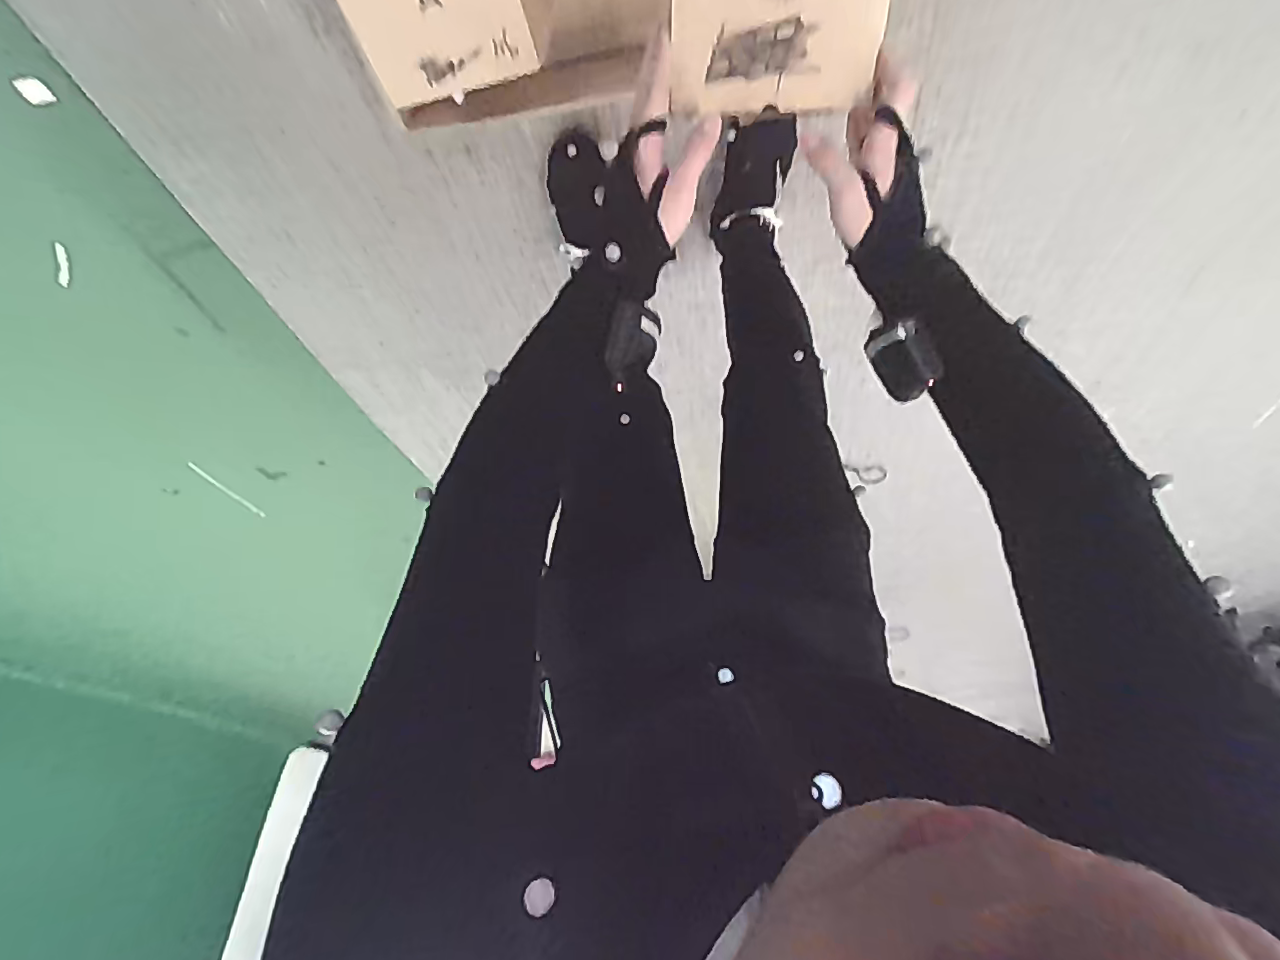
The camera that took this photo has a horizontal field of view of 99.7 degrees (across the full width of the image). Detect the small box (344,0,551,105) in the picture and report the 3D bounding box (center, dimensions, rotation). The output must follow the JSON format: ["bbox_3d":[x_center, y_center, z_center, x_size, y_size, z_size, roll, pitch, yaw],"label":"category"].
[{"bbox_3d":[-0.194,-0.515,0.532,0.168,0.176,0.179,-8,143,8],"label":"small box"}]

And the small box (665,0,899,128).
[{"bbox_3d":[0.108,-0.406,0.451,0.168,0.176,0.179,-1,126,1],"label":"small box"}]
